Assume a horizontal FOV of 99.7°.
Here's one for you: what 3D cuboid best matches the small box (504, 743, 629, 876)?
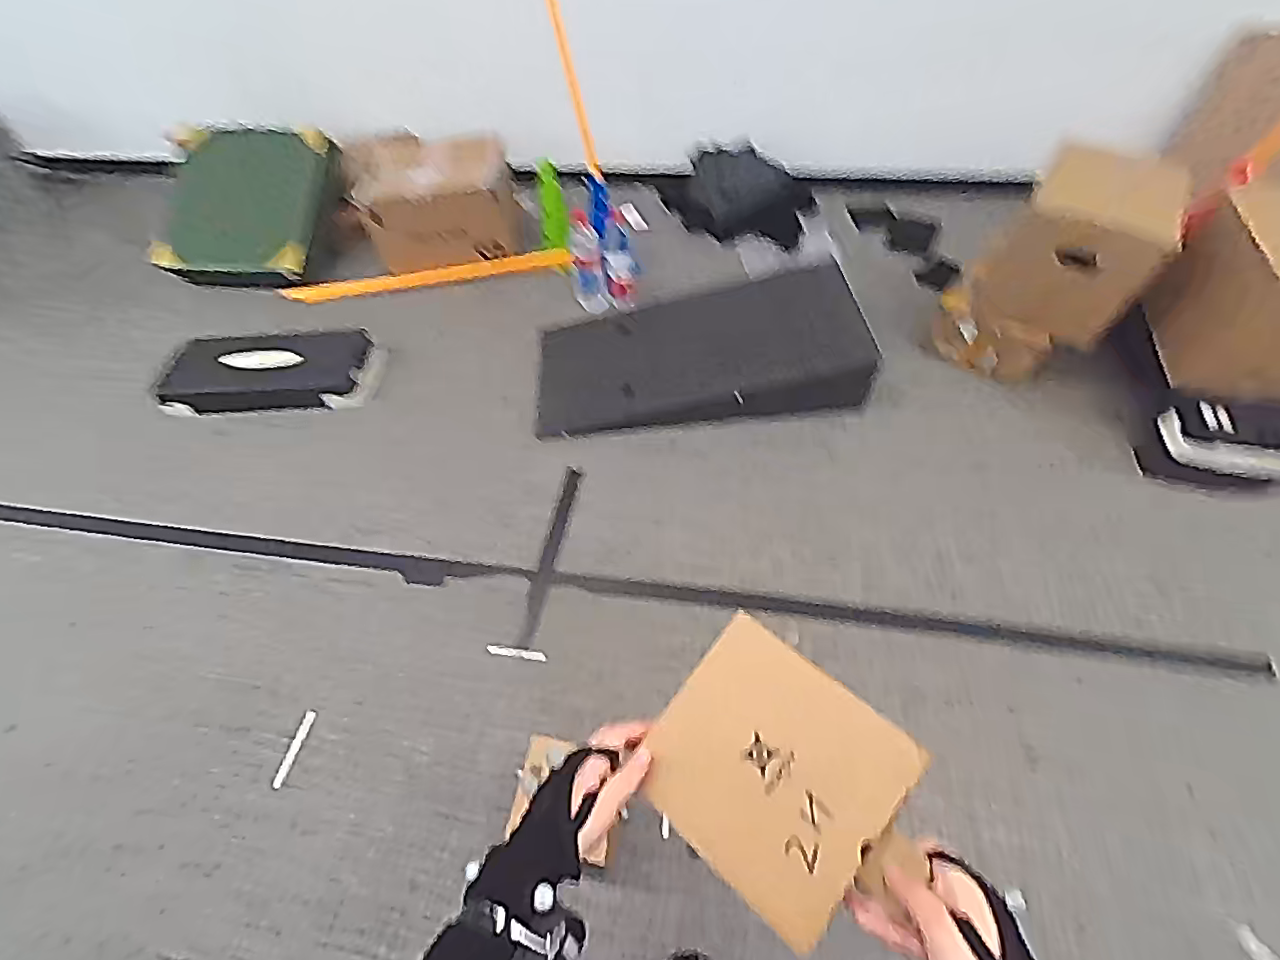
[{"bbox_3d":[-0.121,0.602,0.991,0.179,0.176,0.168,9,55,9],"label":"small box"}]
